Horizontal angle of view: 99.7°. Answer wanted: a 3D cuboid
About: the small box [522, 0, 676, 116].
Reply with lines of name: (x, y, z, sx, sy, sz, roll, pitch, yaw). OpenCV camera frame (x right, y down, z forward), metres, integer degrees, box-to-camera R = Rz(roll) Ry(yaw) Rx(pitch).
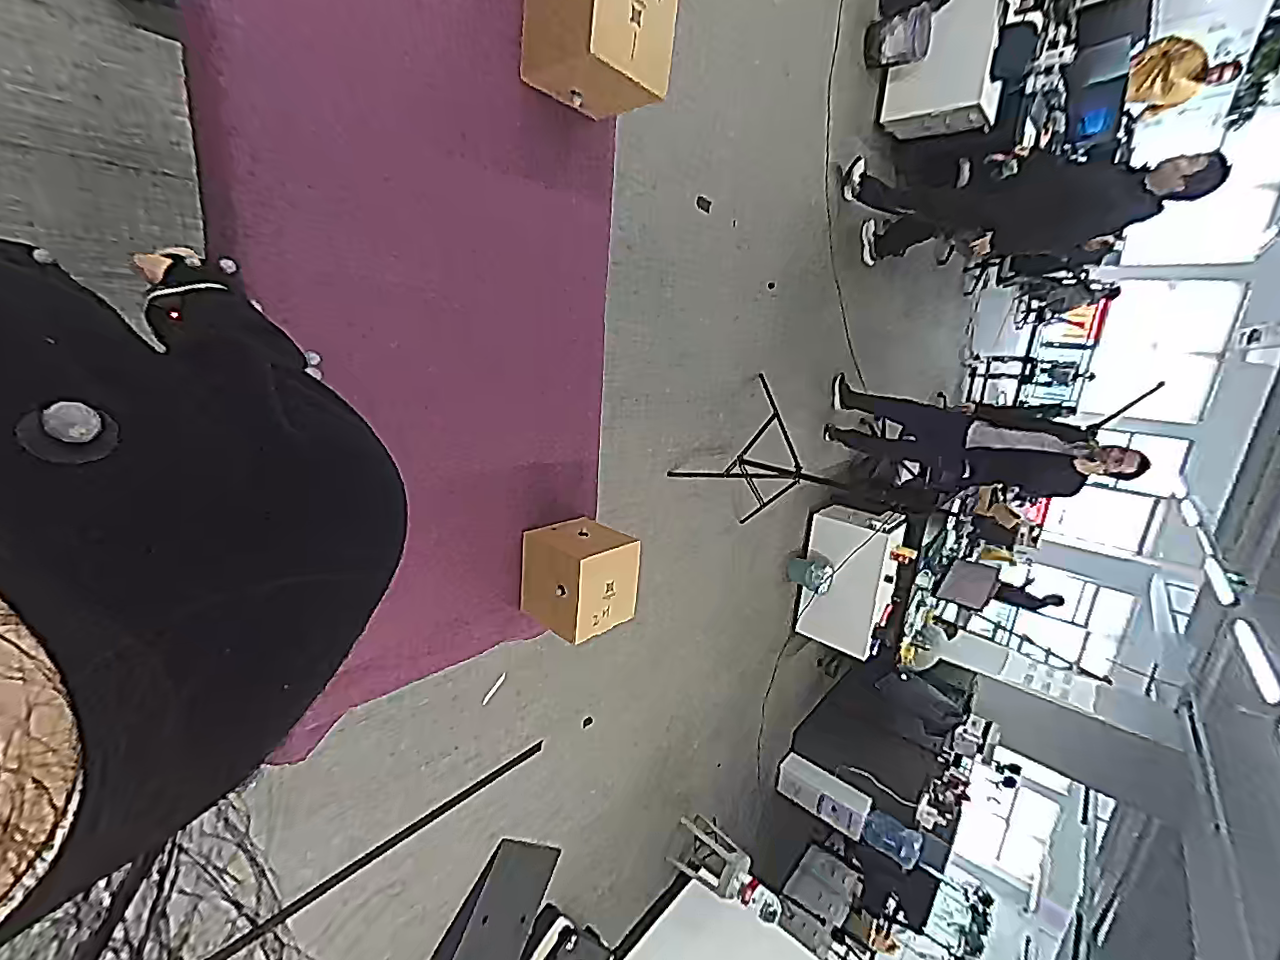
small box: (-0.065, -0.699, 0.834, 0.168, 0.176, 0.179, -8, 111, -47)

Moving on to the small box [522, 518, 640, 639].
small box: (-0.122, 0.185, 1.090, 0.168, 0.176, 0.179, -11, 112, -47)
